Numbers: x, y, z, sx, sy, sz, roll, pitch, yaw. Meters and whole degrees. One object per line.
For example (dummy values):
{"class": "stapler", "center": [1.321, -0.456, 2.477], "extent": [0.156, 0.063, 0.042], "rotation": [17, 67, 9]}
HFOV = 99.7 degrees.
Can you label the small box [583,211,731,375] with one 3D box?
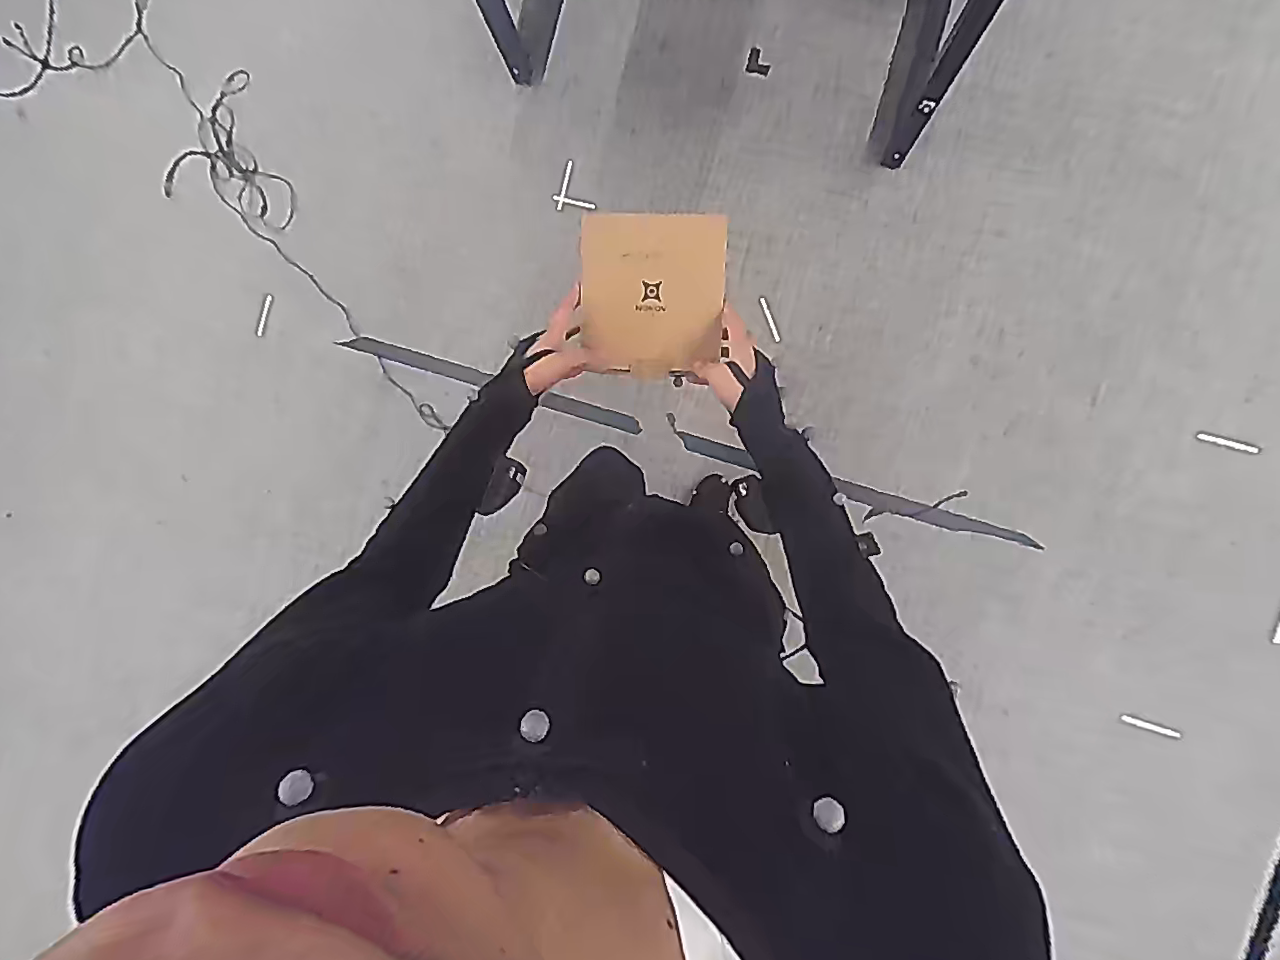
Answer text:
{"class": "small box", "center": [0.021, -0.227, 0.691], "extent": [0.168, 0.176, 0.179], "rotation": [1, 101, 1]}
